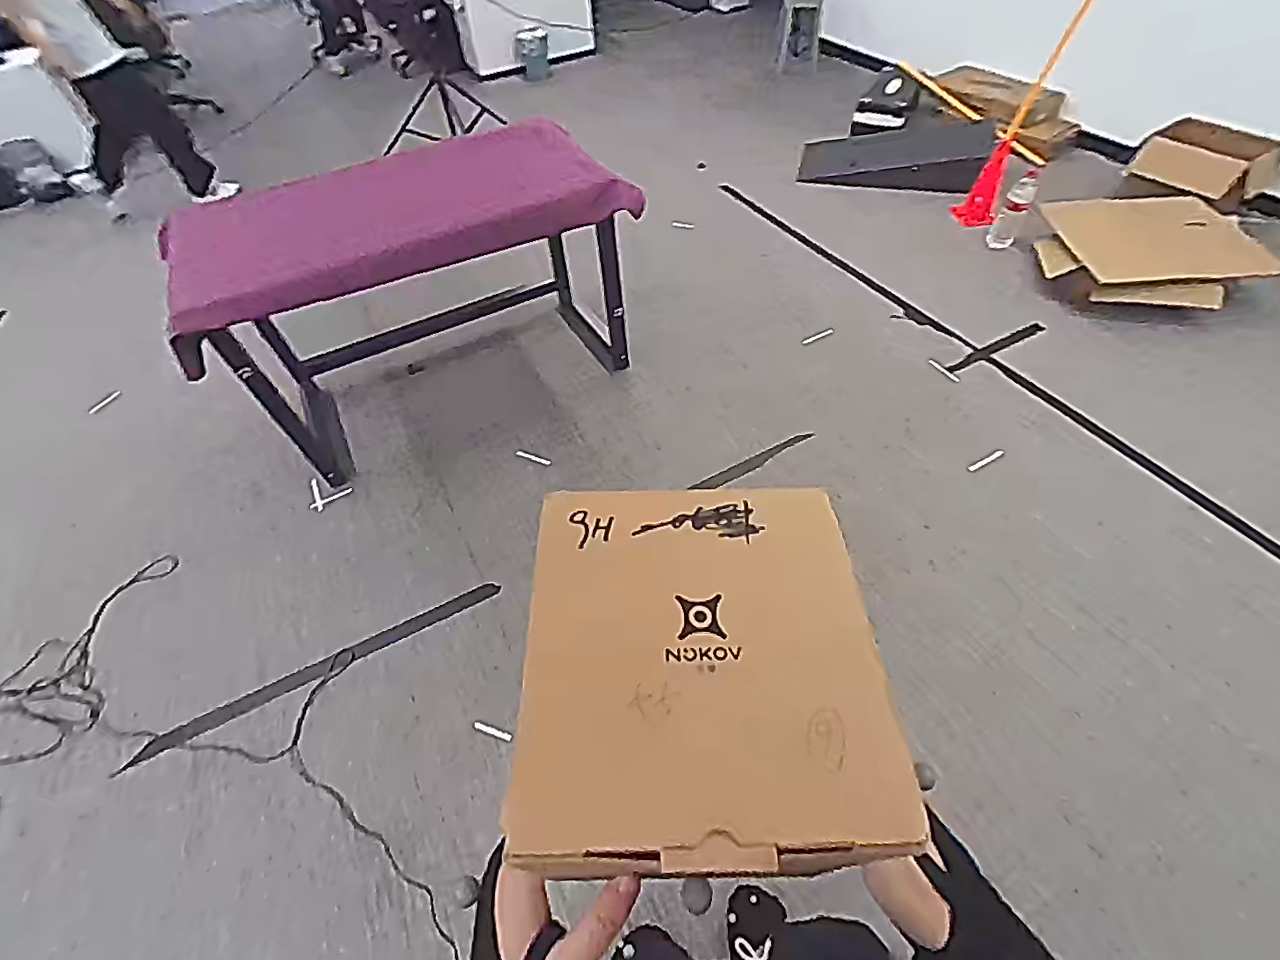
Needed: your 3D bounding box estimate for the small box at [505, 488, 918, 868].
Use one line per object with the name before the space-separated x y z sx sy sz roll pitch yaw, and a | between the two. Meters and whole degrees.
small box | 0.027 0.123 0.322 0.168 0.176 0.179 0 52 -2
